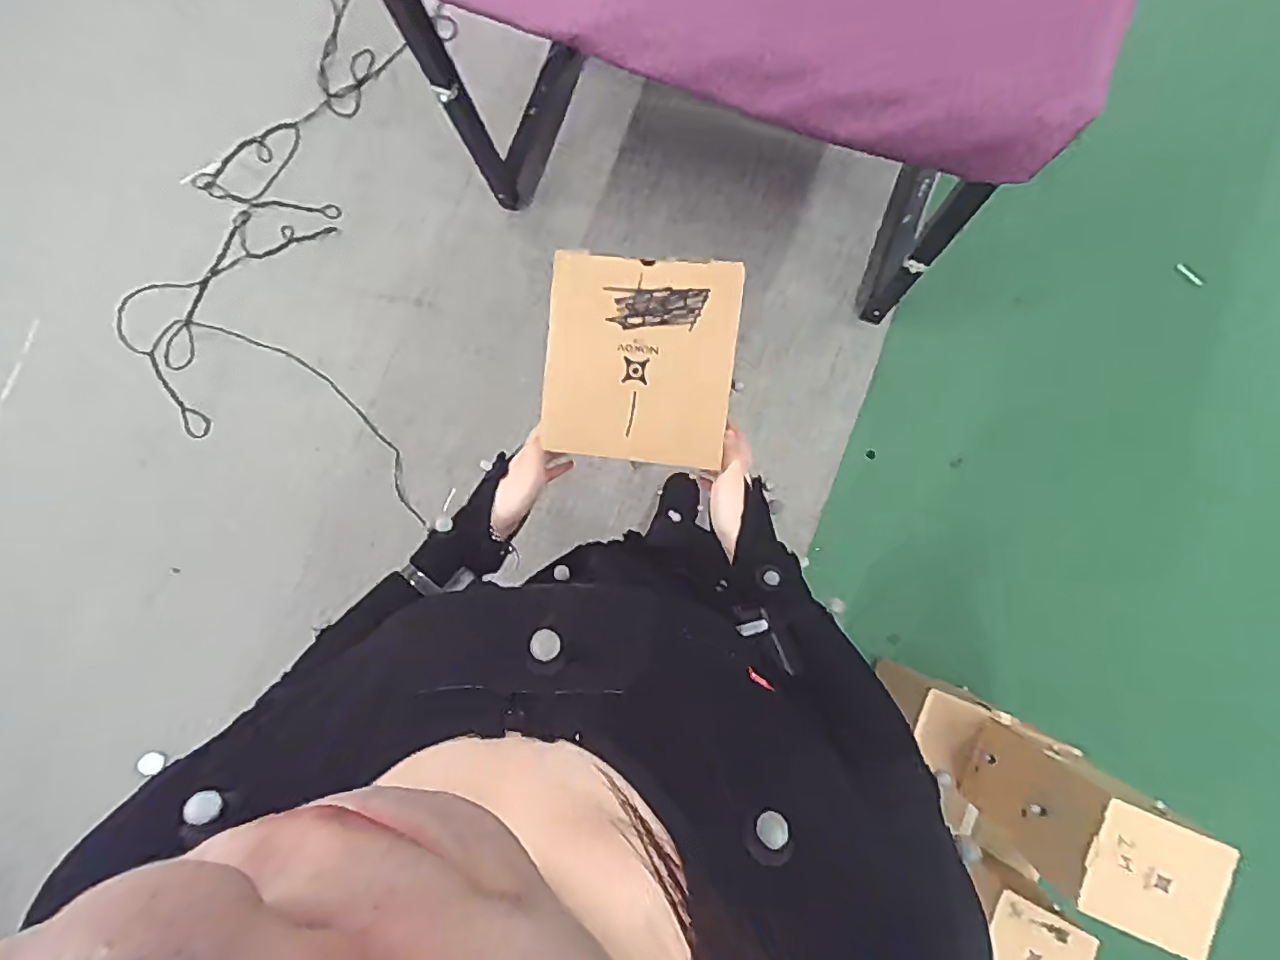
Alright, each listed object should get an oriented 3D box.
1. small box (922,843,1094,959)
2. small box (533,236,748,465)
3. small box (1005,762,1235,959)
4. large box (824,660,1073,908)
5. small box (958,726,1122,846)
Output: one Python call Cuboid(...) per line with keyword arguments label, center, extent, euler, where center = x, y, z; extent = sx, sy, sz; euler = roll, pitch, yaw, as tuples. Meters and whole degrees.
Cuboid(label="small box", center=(0.640, 0.812, 0.968), extent=(0.168, 0.176, 0.179), euler=(27, 87, 6))
Cuboid(label="small box", center=(0.007, -0.116, 0.532), extent=(0.168, 0.176, 0.179), euler=(8, 97, 7))
Cuboid(label="small box", center=(0.713, 0.566, 0.824), extent=(0.179, 0.176, 0.168), euler=(21, 86, 7))
Cuboid(label="large box", center=(0.664, 0.685, 1.227), extent=(0.320, 0.320, 0.408), euler=(22, 87, 8))
Cuboid(label="small box", center=(0.730, 0.581, 0.988), extent=(0.179, 0.176, 0.168), euler=(22, 87, 7))
